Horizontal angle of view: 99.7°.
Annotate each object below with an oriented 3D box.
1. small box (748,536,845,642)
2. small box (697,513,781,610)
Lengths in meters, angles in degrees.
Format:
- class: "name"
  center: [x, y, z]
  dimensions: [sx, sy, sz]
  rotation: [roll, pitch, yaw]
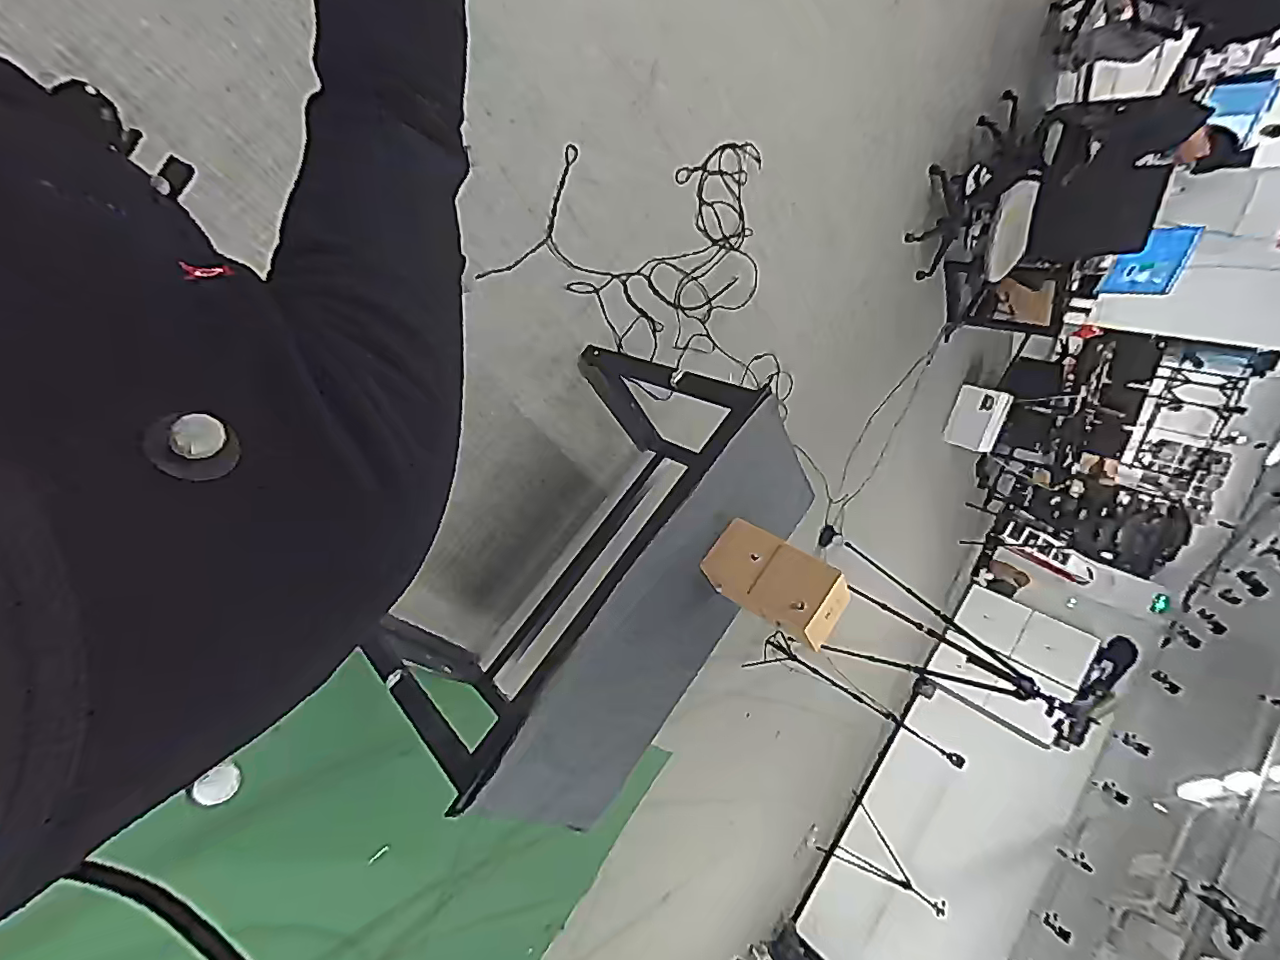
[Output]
- class: "small box"
  center: [0.396, 0.276, 1.387]
  dimensions: [0.179, 0.176, 0.168]
  rotation: [-53, 140, -14]
- class: "small box"
  center: [0.287, 0.220, 1.497]
  dimensions: [0.179, 0.176, 0.168]
  rotation: [-51, 139, -15]
